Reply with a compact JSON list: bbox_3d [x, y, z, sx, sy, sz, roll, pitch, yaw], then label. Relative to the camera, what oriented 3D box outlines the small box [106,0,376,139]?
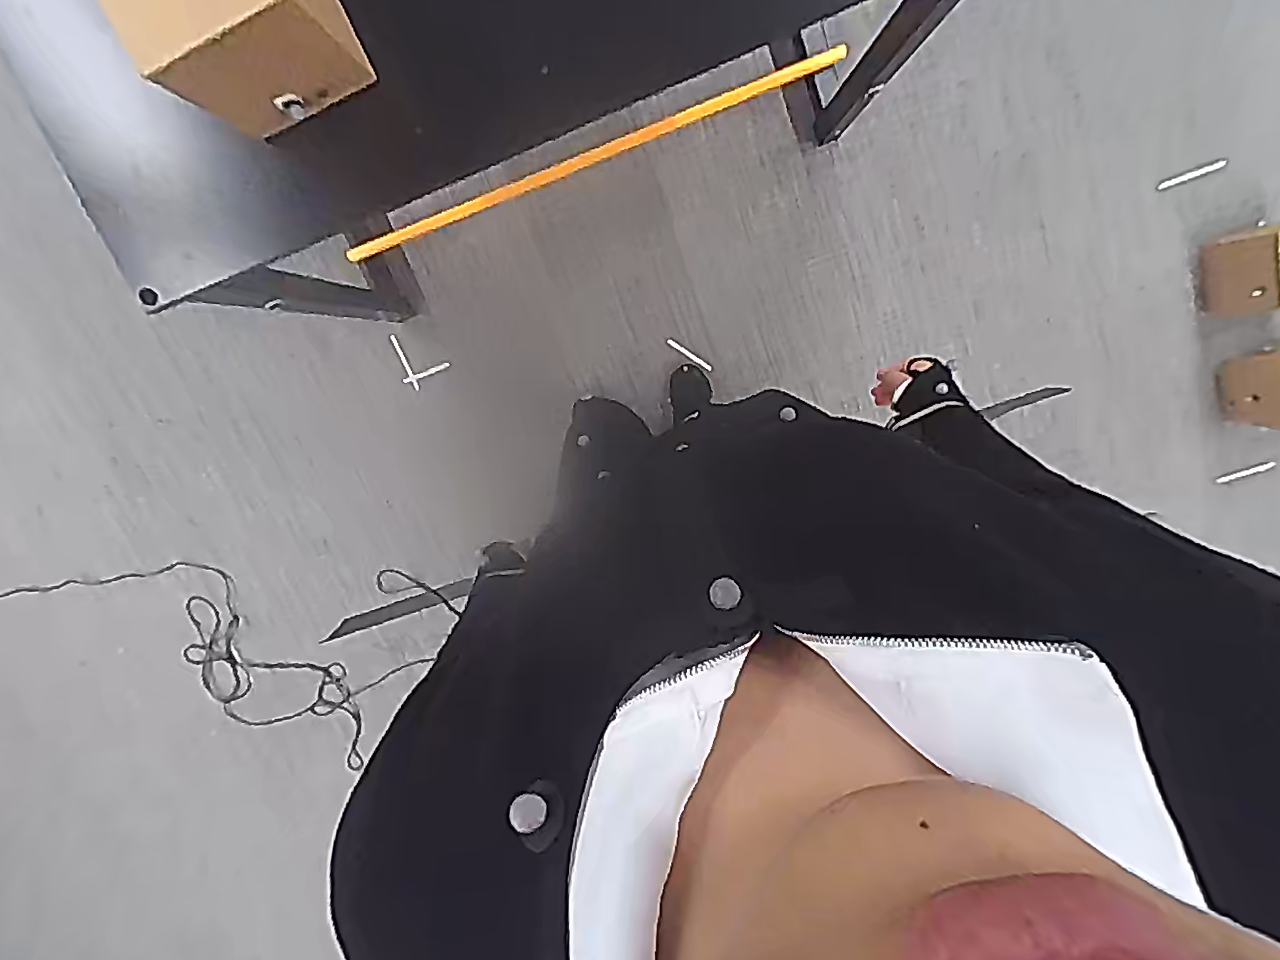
[{"bbox_3d":[-0.420,-0.504,0.563,0.168,0.176,0.179,-24,103,7],"label":"small box"}]

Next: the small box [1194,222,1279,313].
[{"bbox_3d":[1.483,-0.506,1.283,0.168,0.176,0.179,-18,102,5],"label":"small box"}]

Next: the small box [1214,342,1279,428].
[{"bbox_3d":[1.599,-0.239,1.349,0.179,0.176,0.168,-22,102,7],"label":"small box"}]
